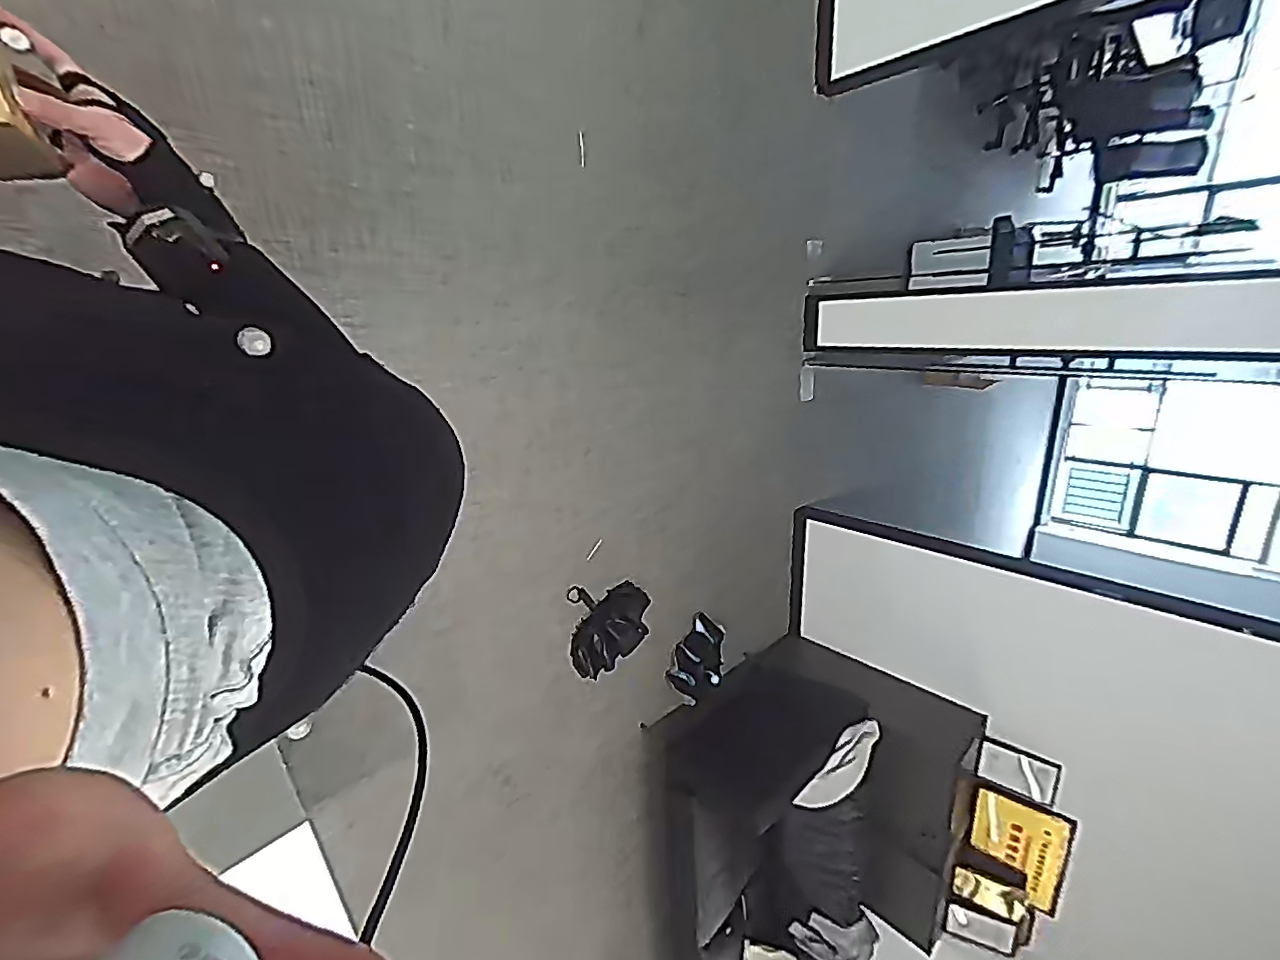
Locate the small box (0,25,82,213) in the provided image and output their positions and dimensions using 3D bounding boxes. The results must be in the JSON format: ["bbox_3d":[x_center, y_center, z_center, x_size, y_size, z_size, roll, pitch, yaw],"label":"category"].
[{"bbox_3d":[-0.519,-0.280,0.343,0.168,0.176,0.179,-26,115,-30],"label":"small box"}]
